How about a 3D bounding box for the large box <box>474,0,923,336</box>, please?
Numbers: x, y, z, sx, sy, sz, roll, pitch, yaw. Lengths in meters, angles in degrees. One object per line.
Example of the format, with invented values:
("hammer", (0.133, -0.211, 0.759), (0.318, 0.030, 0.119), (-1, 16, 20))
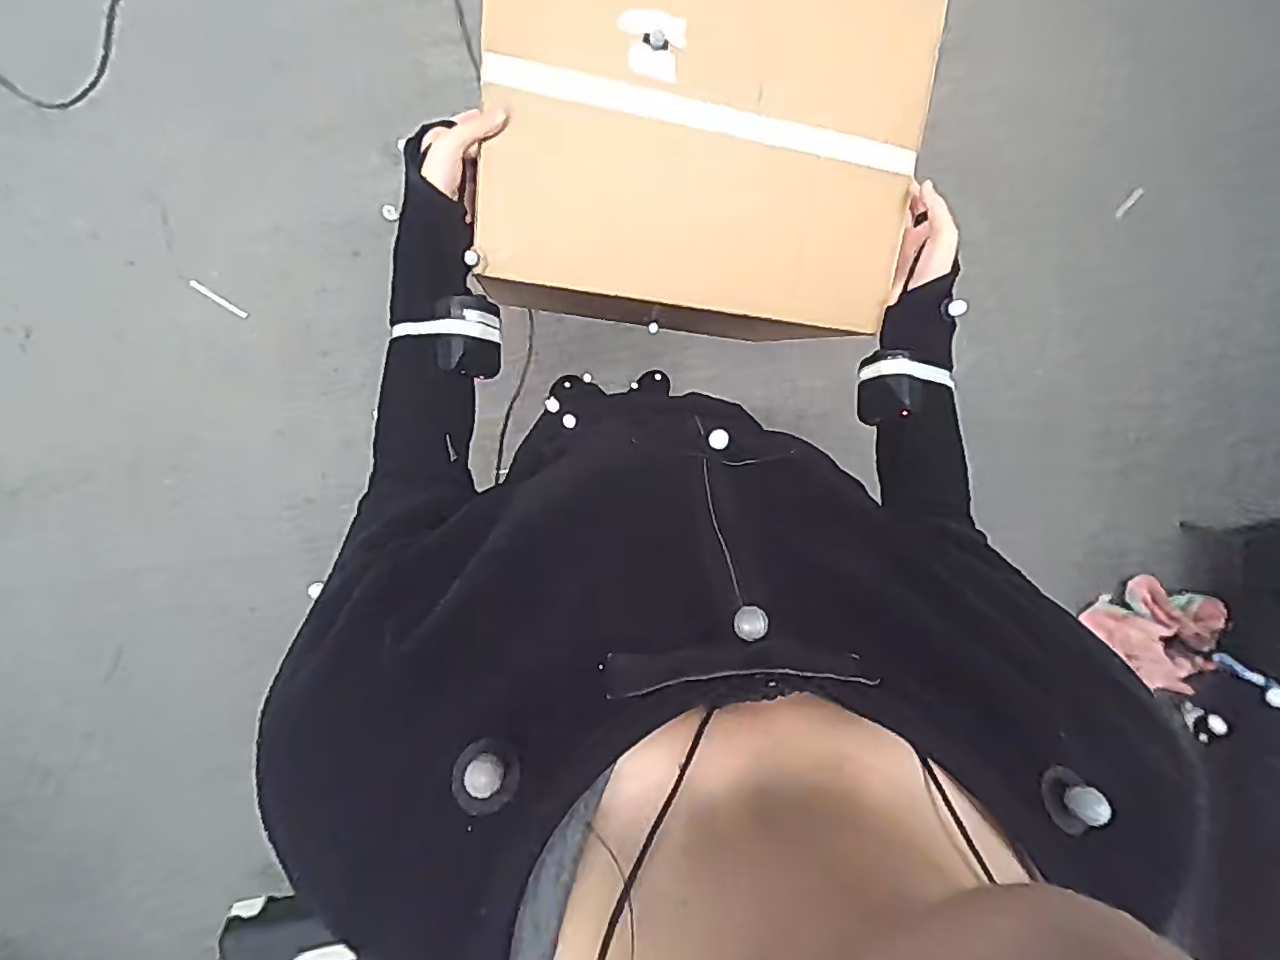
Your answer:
("large box", (0.032, -0.346, 0.638), (0.408, 0.320, 0.320), (3, 101, -11))
